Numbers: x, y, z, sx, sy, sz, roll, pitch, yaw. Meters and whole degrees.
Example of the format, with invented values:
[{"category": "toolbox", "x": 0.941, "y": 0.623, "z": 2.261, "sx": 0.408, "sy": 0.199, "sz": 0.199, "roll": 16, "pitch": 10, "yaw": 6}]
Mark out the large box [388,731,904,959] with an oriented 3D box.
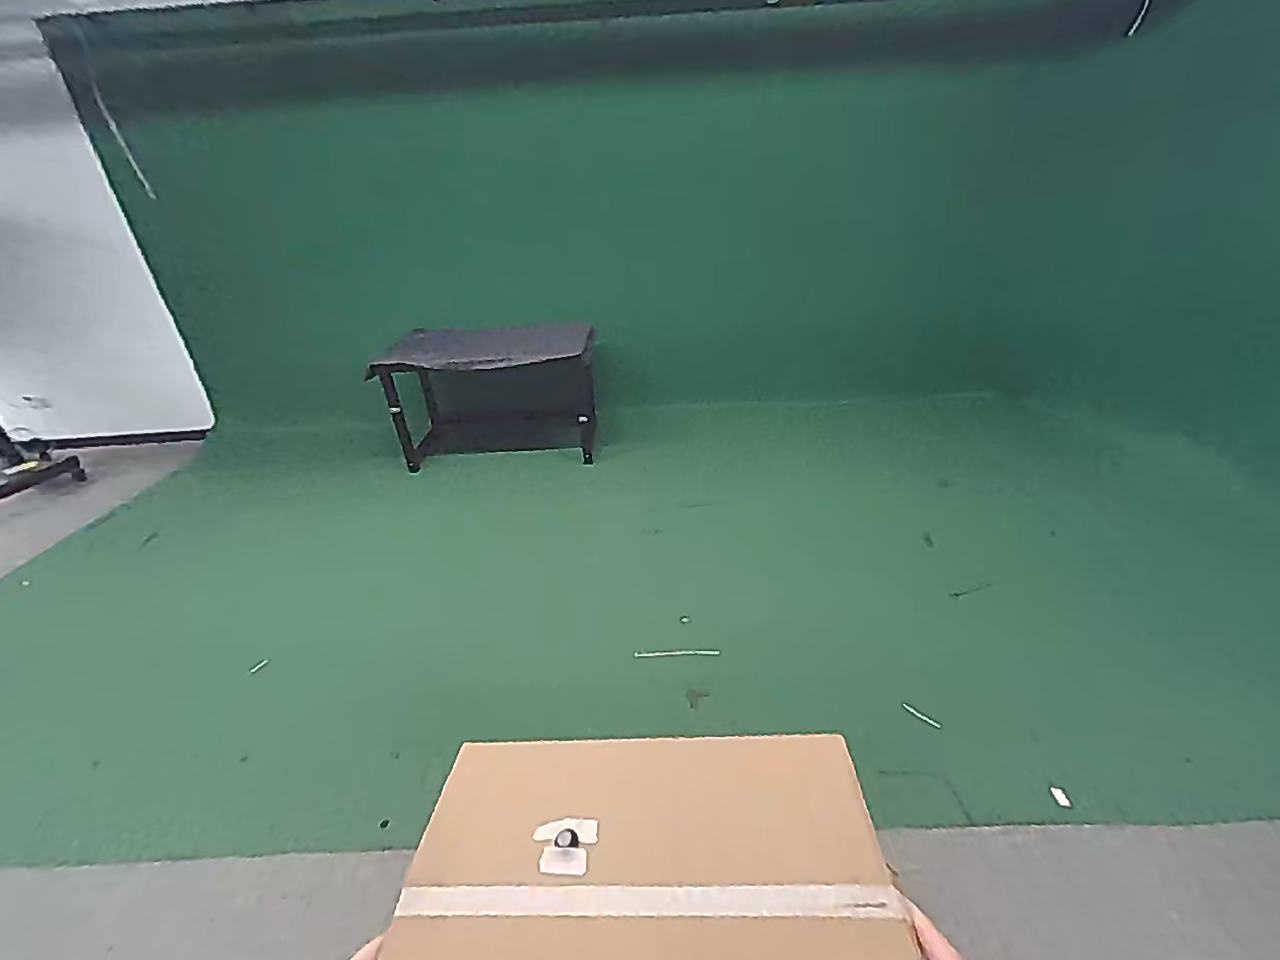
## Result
[{"category": "large box", "x": 0.019, "y": 0.480, "z": 0.510, "sx": 0.408, "sy": 0.320, "sz": 0.320, "roll": -6, "pitch": 26, "yaw": 7}]
